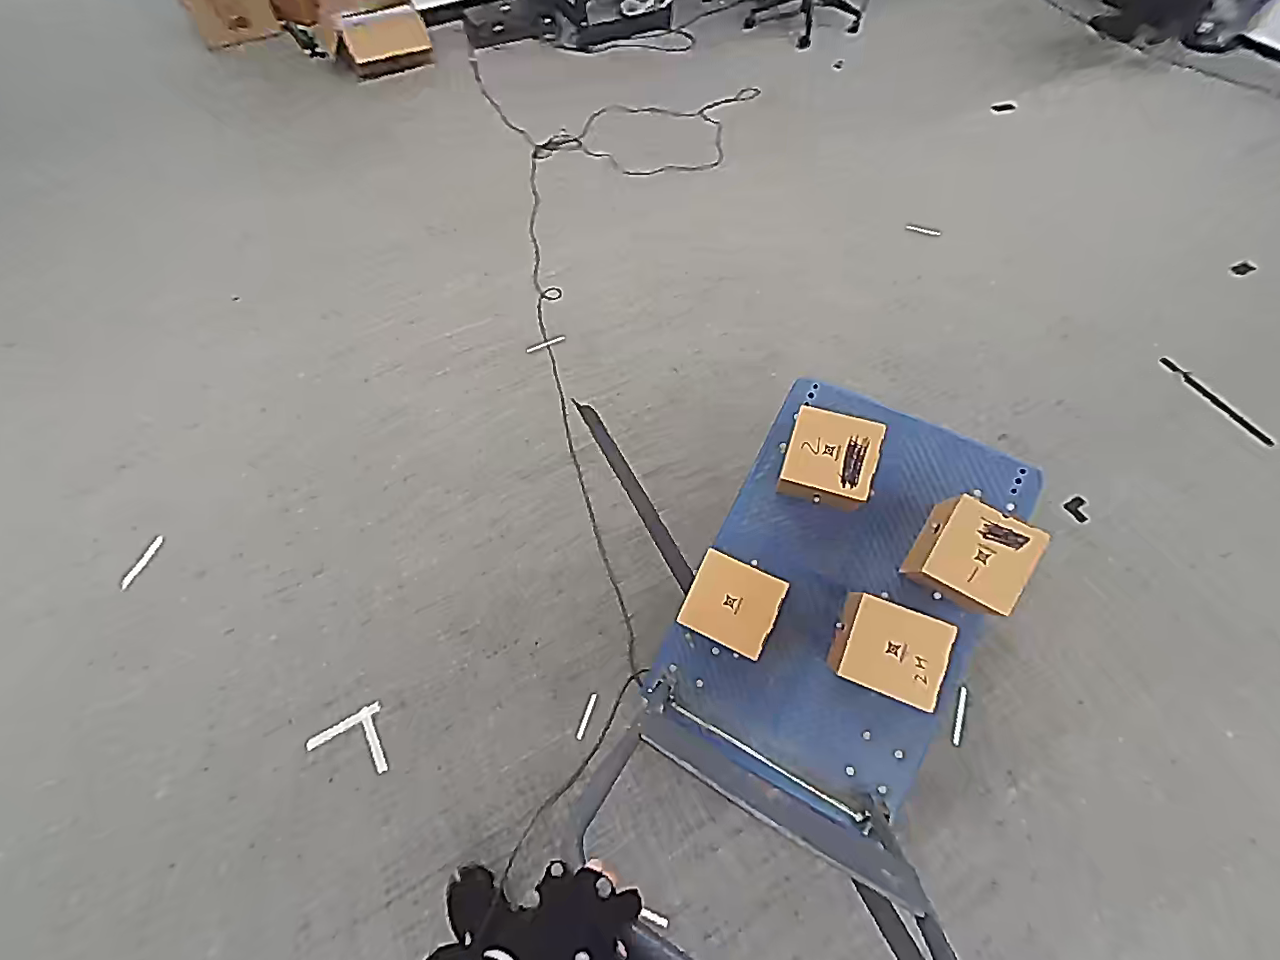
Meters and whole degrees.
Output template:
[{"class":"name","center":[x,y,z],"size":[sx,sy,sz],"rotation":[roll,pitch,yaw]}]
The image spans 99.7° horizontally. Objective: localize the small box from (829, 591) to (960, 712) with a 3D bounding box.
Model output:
[{"class":"small box","center":[0.494,0.333,1.079],"size":[0.179,0.176,0.168],"rotation":[20,84,14]}]

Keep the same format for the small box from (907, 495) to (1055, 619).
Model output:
[{"class":"small box","center":[0.664,0.154,1.081],"size":[0.168,0.176,0.179],"rotation":[31,87,16]}]

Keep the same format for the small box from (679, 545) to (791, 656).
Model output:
[{"class":"small box","center":[0.201,0.254,1.155],"size":[0.179,0.176,0.168],"rotation":[25,85,13]}]
